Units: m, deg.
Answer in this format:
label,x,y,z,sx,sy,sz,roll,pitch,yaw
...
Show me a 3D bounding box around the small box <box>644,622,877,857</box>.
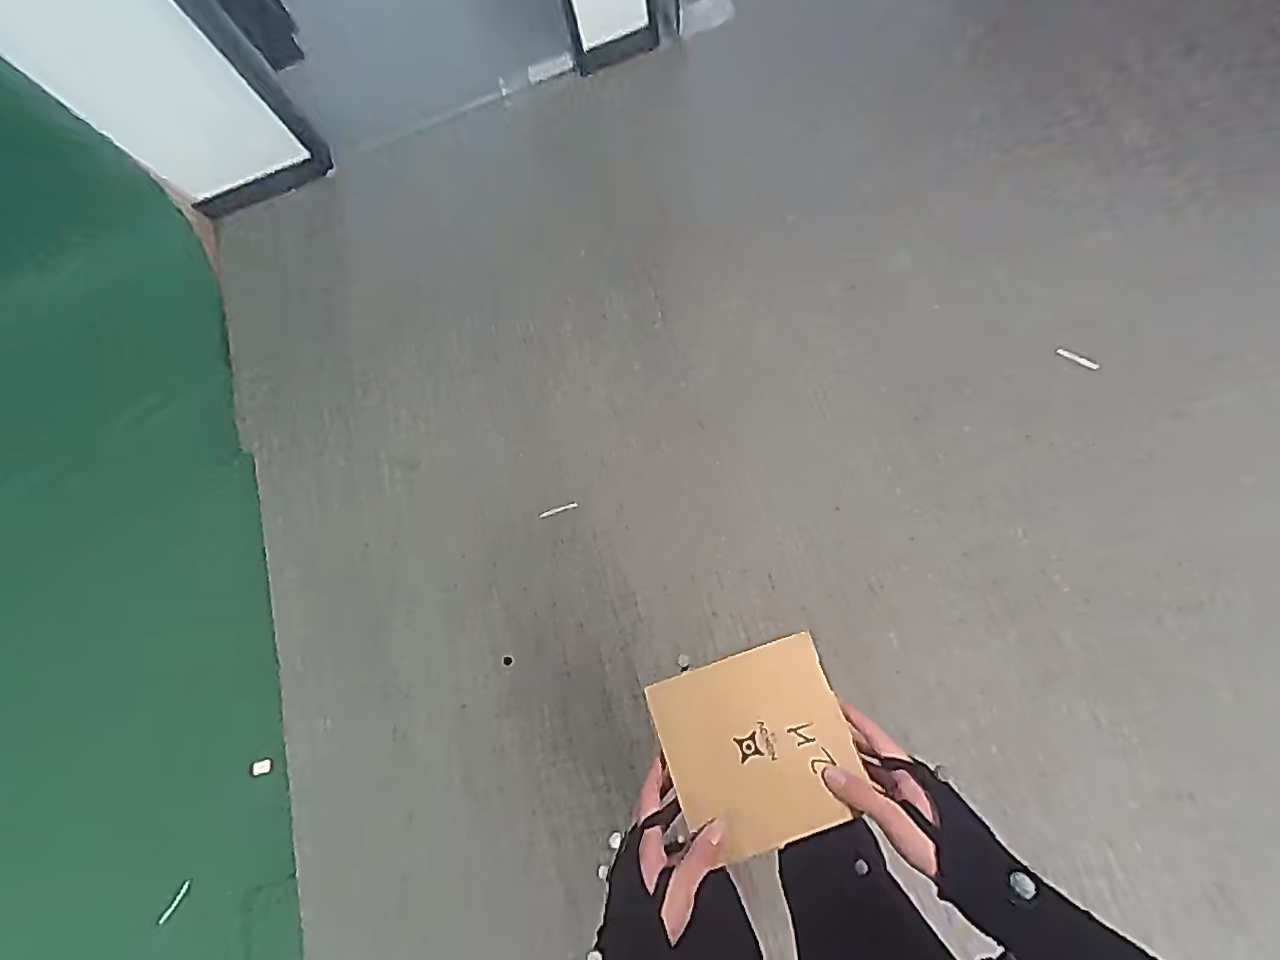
label,x,y,z,sx,sy,sz,roll,pitch,yaw
small box,0.117,0.264,0.585,0.179,0.176,0.168,-19,72,-1
